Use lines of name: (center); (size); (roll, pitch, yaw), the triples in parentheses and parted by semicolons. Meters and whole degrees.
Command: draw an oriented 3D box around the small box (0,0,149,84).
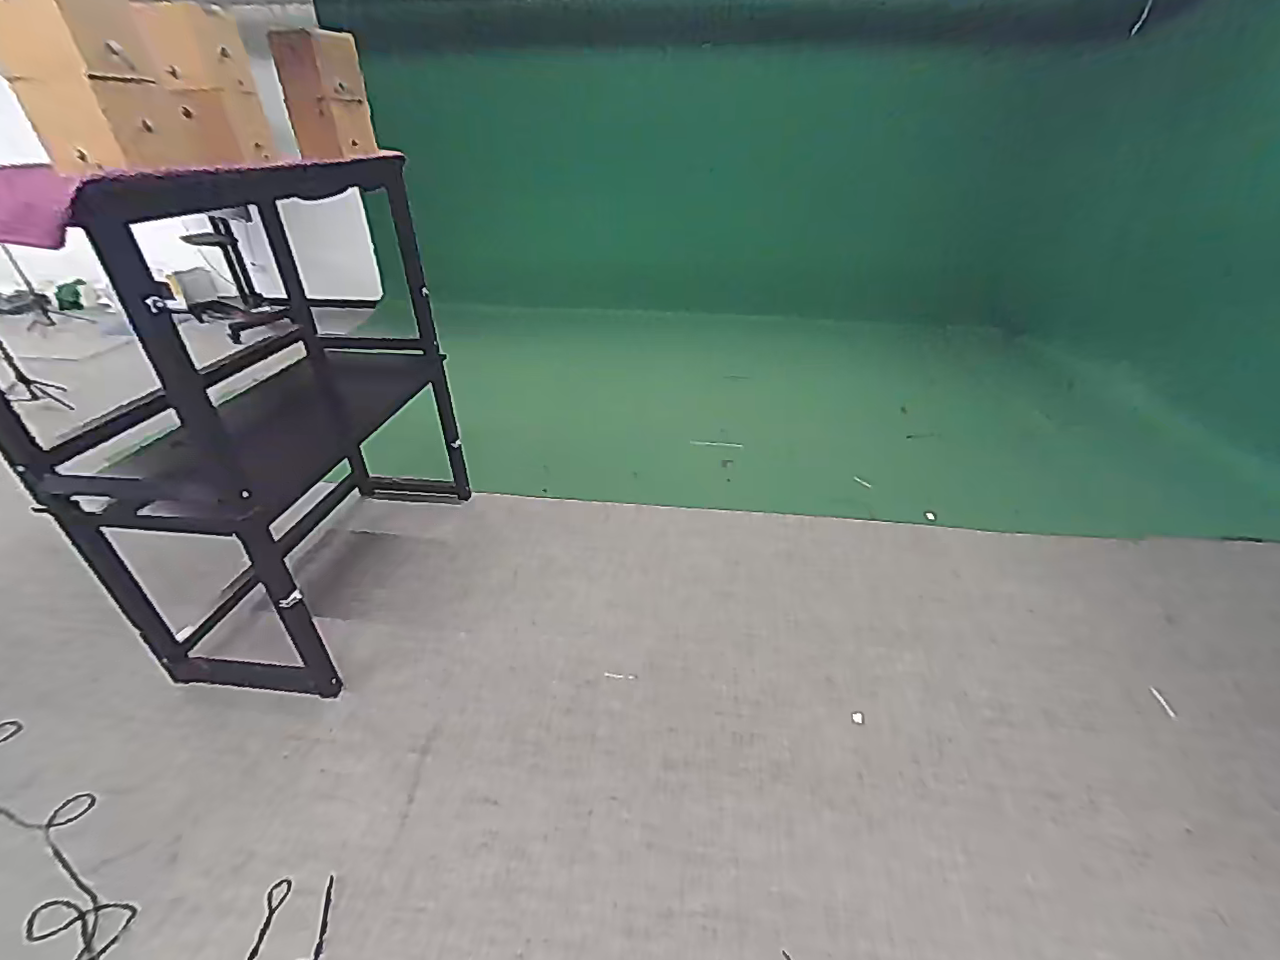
small box: (-1.095, -0.849, 1.006); (0.179, 0.176, 0.168); (1, 33, 3)

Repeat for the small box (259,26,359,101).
small box: (-0.999, -1.264, 1.647); (0.179, 0.176, 0.168); (13, 37, 16)

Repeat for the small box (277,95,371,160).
small box: (-1.008, -1.130, 1.739); (0.179, 0.176, 0.168); (10, 35, 13)

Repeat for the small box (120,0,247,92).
small box: (-1.110, -1.046, 1.310); (0.179, 0.176, 0.168); (2, 33, 3)
